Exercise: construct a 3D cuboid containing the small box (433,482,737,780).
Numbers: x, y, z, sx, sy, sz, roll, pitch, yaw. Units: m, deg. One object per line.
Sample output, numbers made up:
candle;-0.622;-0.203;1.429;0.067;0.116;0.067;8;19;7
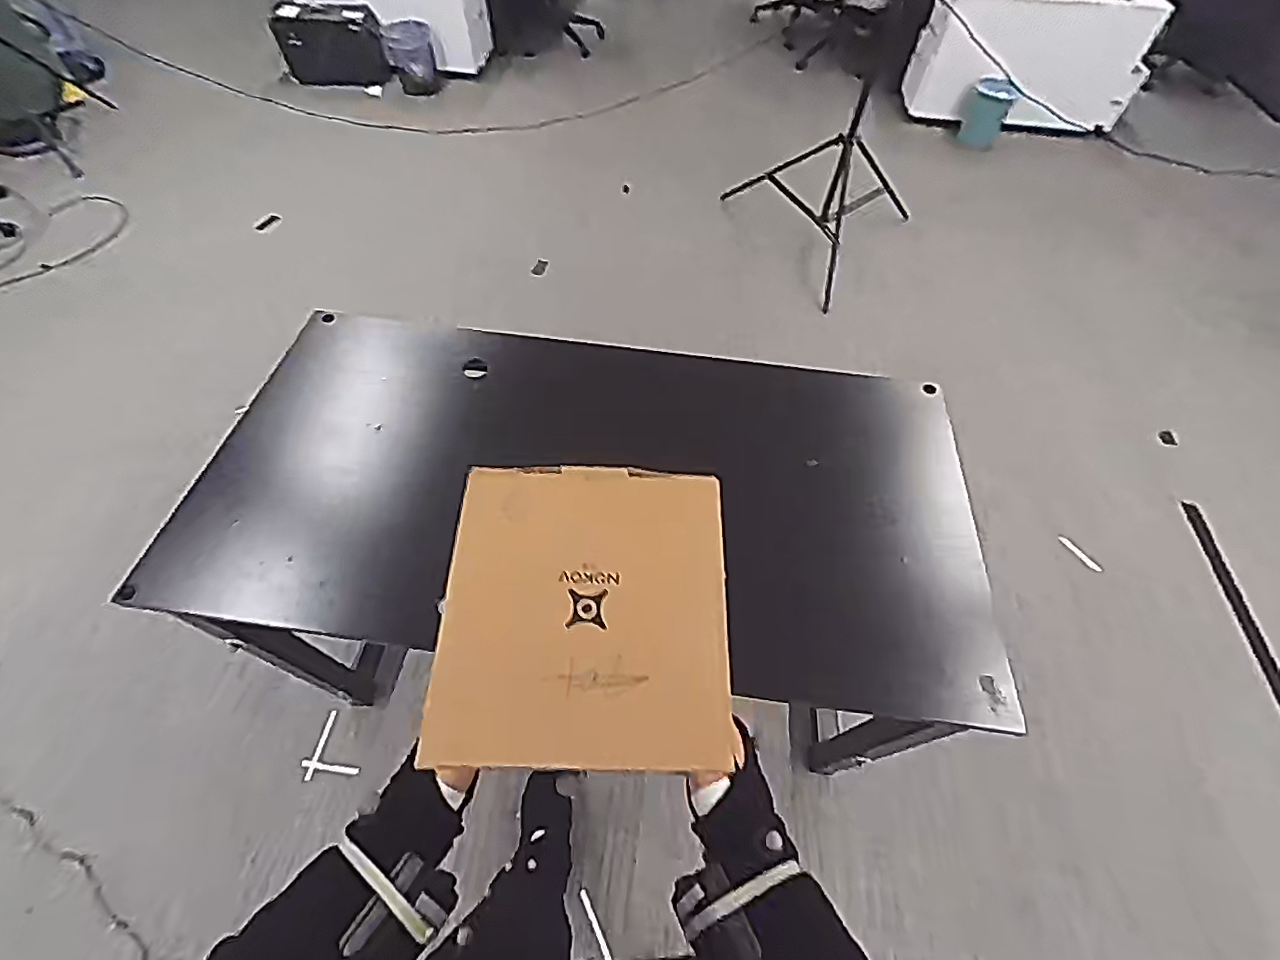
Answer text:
small box;-0.032;0.118;0.397;0.168;0.176;0.179;2;63;-2
